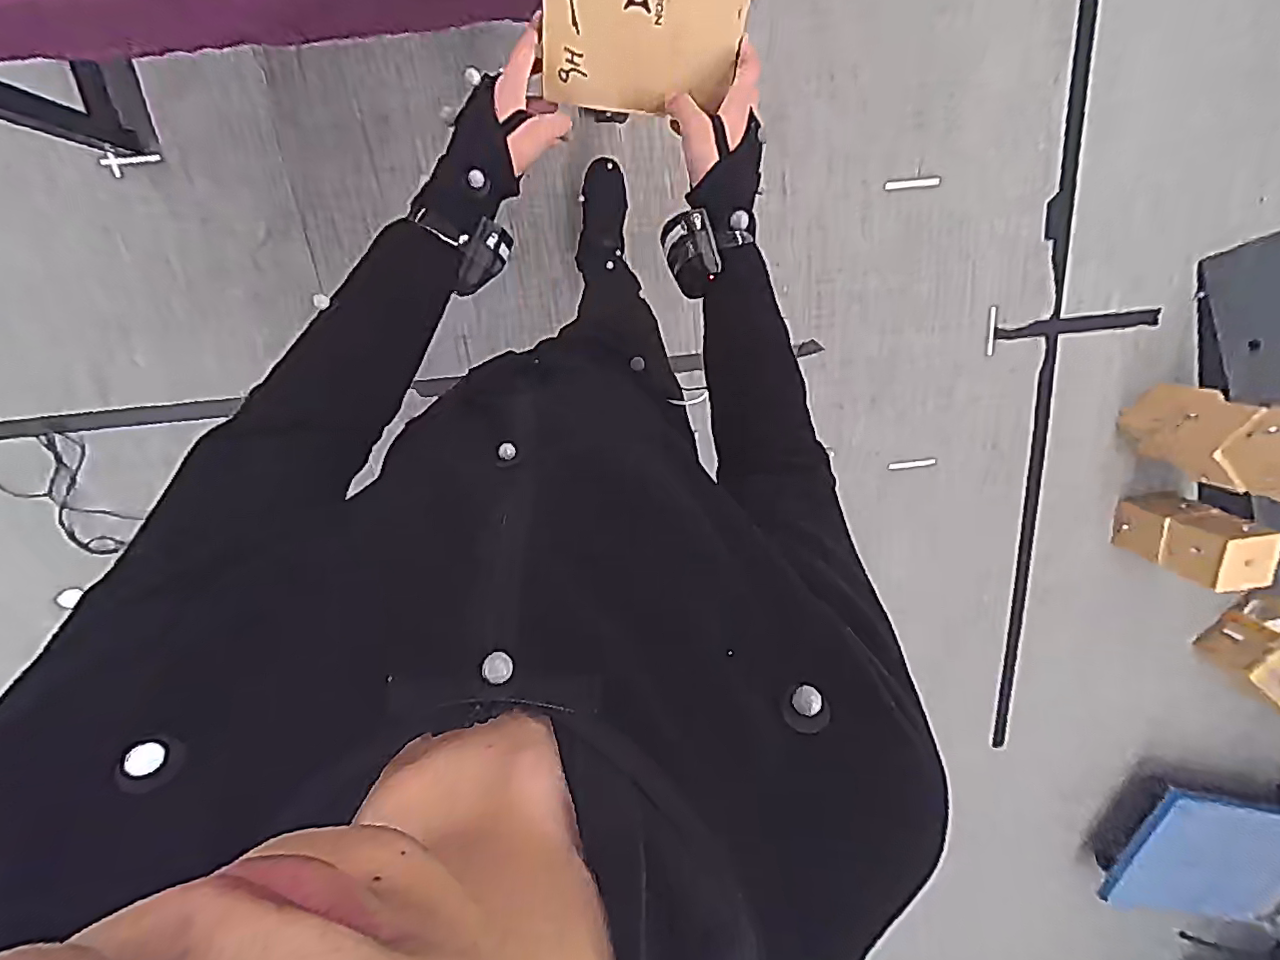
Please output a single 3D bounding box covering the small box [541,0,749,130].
[{"bbox_3d":[-0.003,-0.457,0.522,0.179,0.176,0.168,1,129,-11],"label":"small box"}]
